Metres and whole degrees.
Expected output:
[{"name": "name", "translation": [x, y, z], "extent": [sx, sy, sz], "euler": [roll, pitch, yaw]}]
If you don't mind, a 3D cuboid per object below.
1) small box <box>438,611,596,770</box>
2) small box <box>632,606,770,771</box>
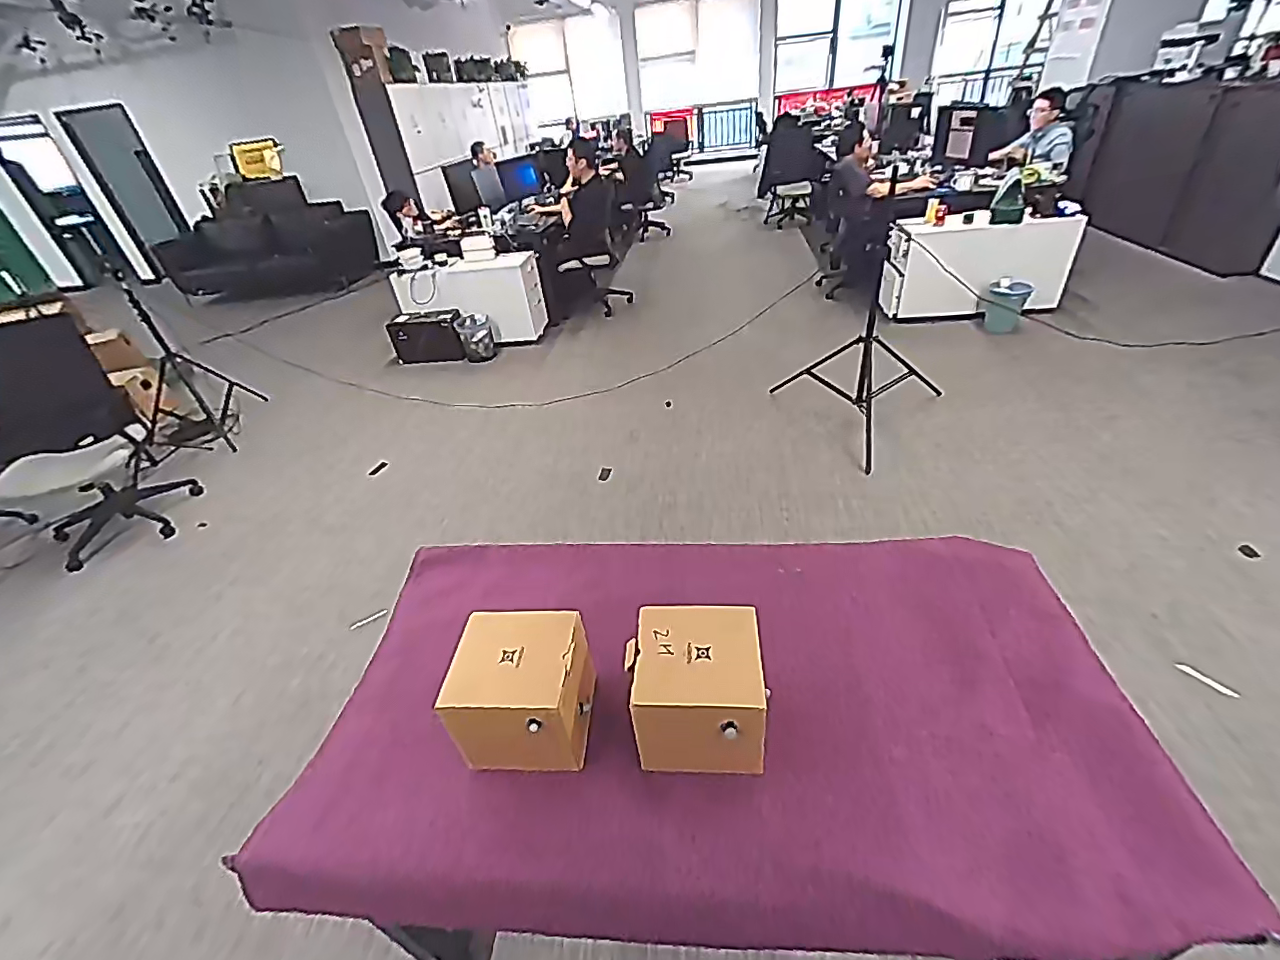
[{"name": "small box", "translation": [-0.174, 0.321, 0.825], "extent": [0.179, 0.176, 0.168], "euler": [-3, 36, 6]}, {"name": "small box", "translation": [0.091, 0.305, 0.794], "extent": [0.179, 0.176, 0.168], "euler": [-3, 35, 8]}]
